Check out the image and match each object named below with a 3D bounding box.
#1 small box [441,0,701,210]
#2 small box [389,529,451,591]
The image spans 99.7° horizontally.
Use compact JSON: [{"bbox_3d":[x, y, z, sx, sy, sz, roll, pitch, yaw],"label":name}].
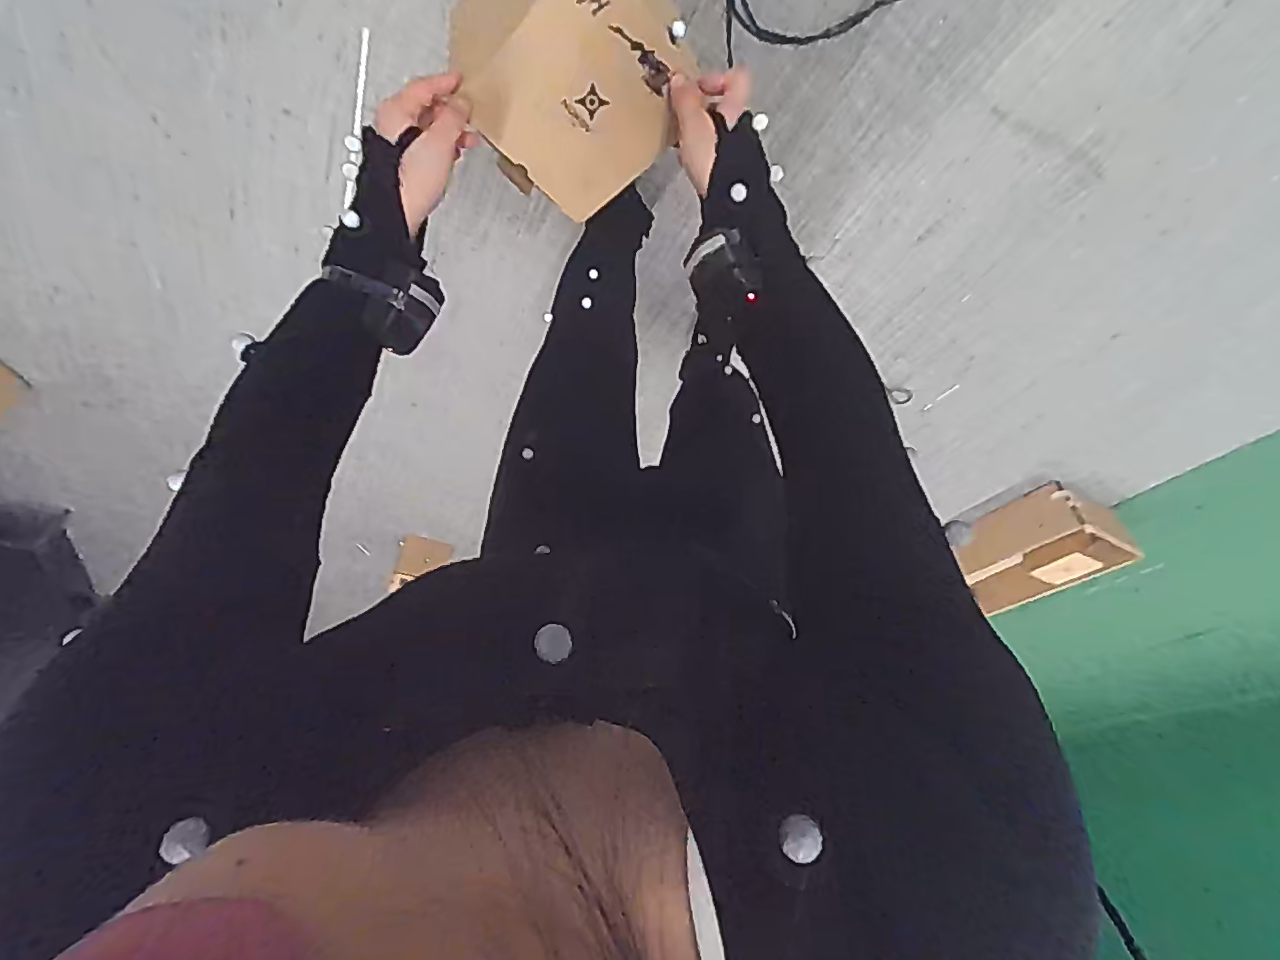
[{"bbox_3d":[-0.065,-0.416,0.520,0.179,0.176,0.168,-24,149,30],"label":"small box"},{"bbox_3d":[-0.868,0.314,2.142,0.179,0.176,0.168,19,139,-24],"label":"small box"}]
